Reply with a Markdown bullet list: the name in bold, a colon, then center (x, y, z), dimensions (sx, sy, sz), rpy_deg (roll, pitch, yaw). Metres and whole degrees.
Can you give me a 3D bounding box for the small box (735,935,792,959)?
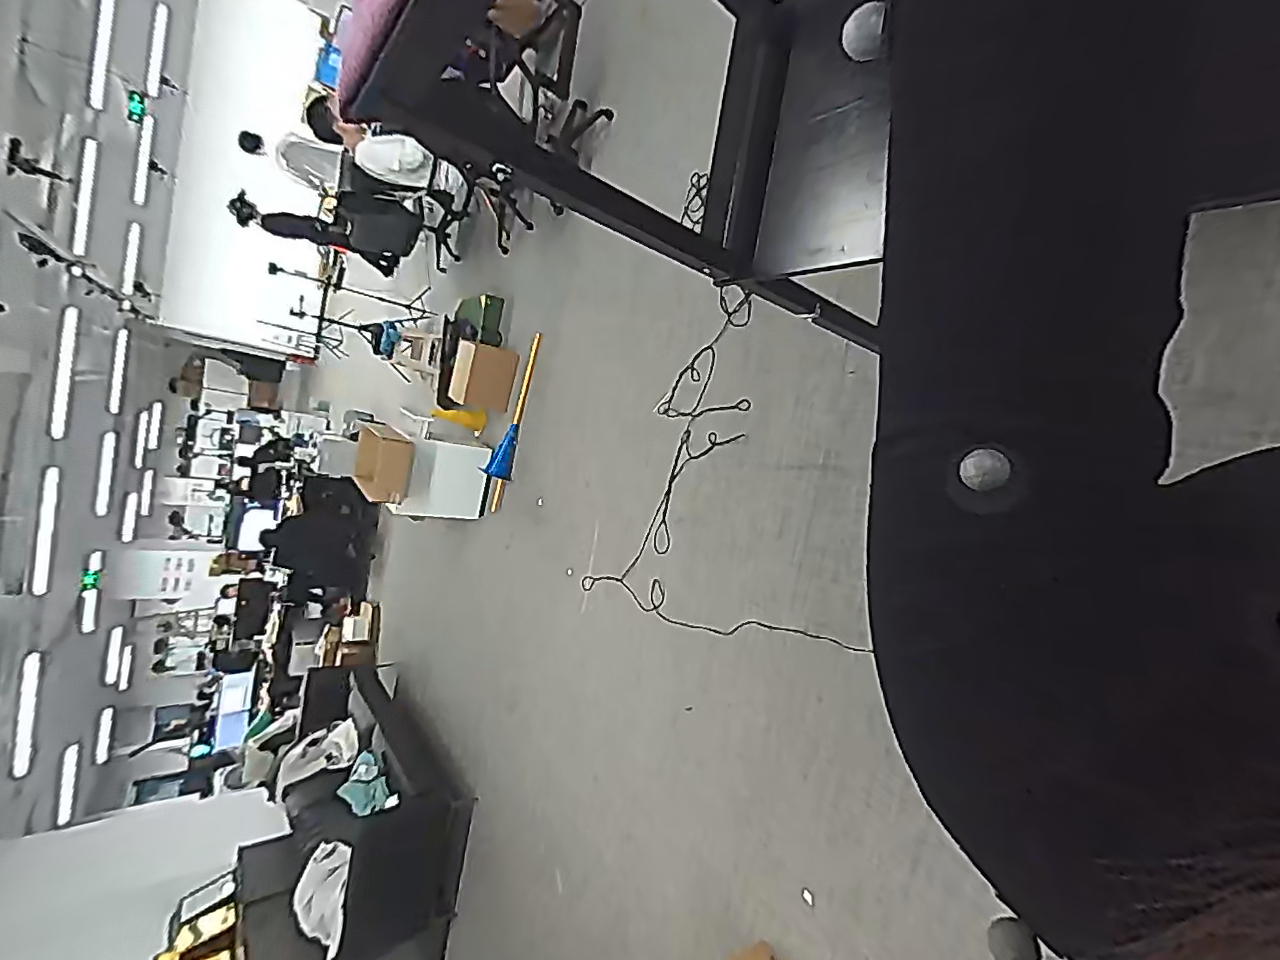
- **small box**: center (0.388, 1.580, 1.674), dimensions (0.168, 0.176, 0.179), rpy_deg (25, 103, 49)
